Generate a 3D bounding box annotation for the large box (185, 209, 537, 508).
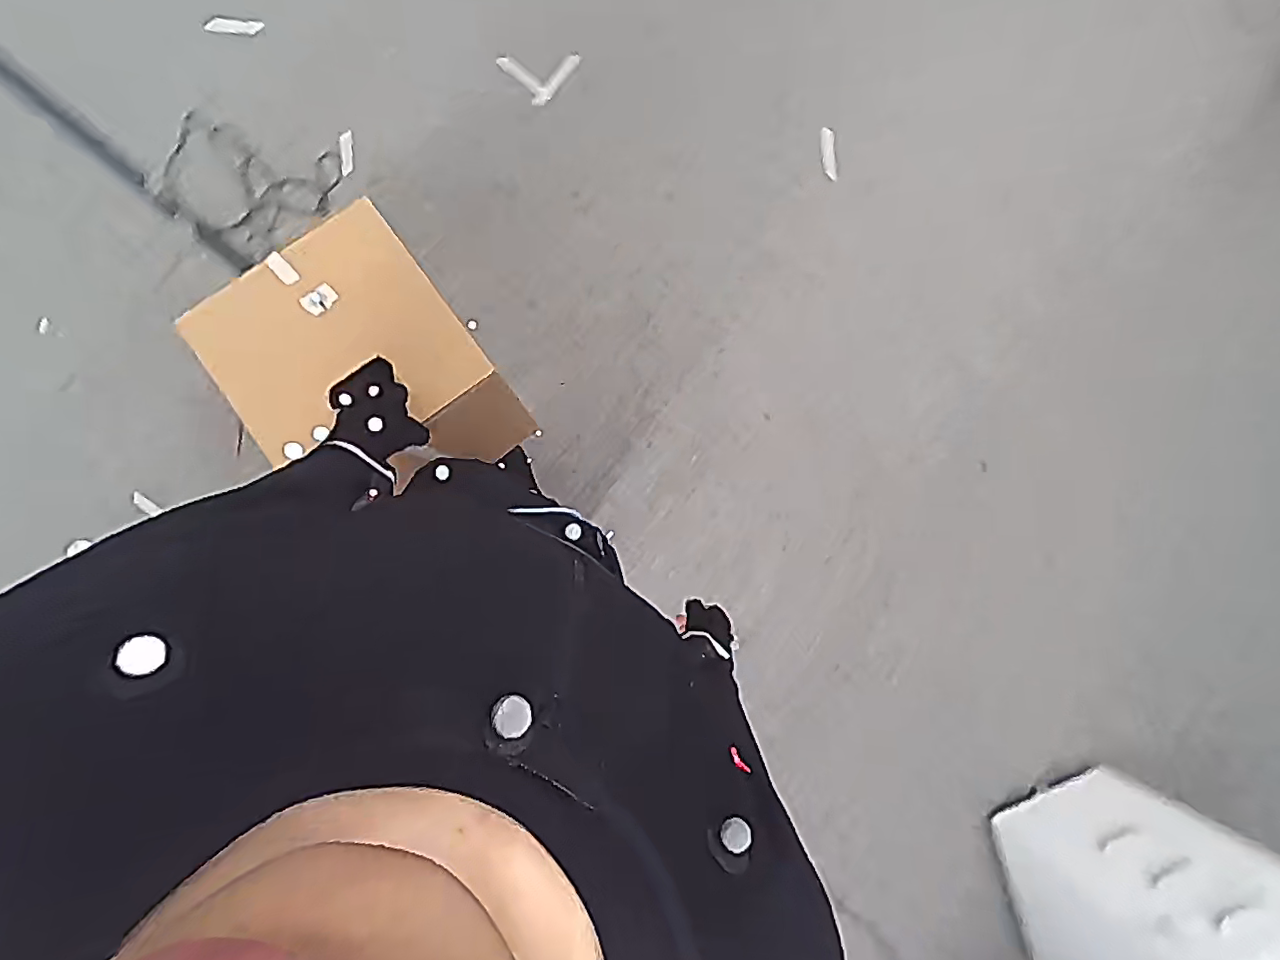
[{"bbox_3d":[-0.426,-0.166,0.936,0.320,0.408,0.320,-37,88,-4],"label":"large box"}]
